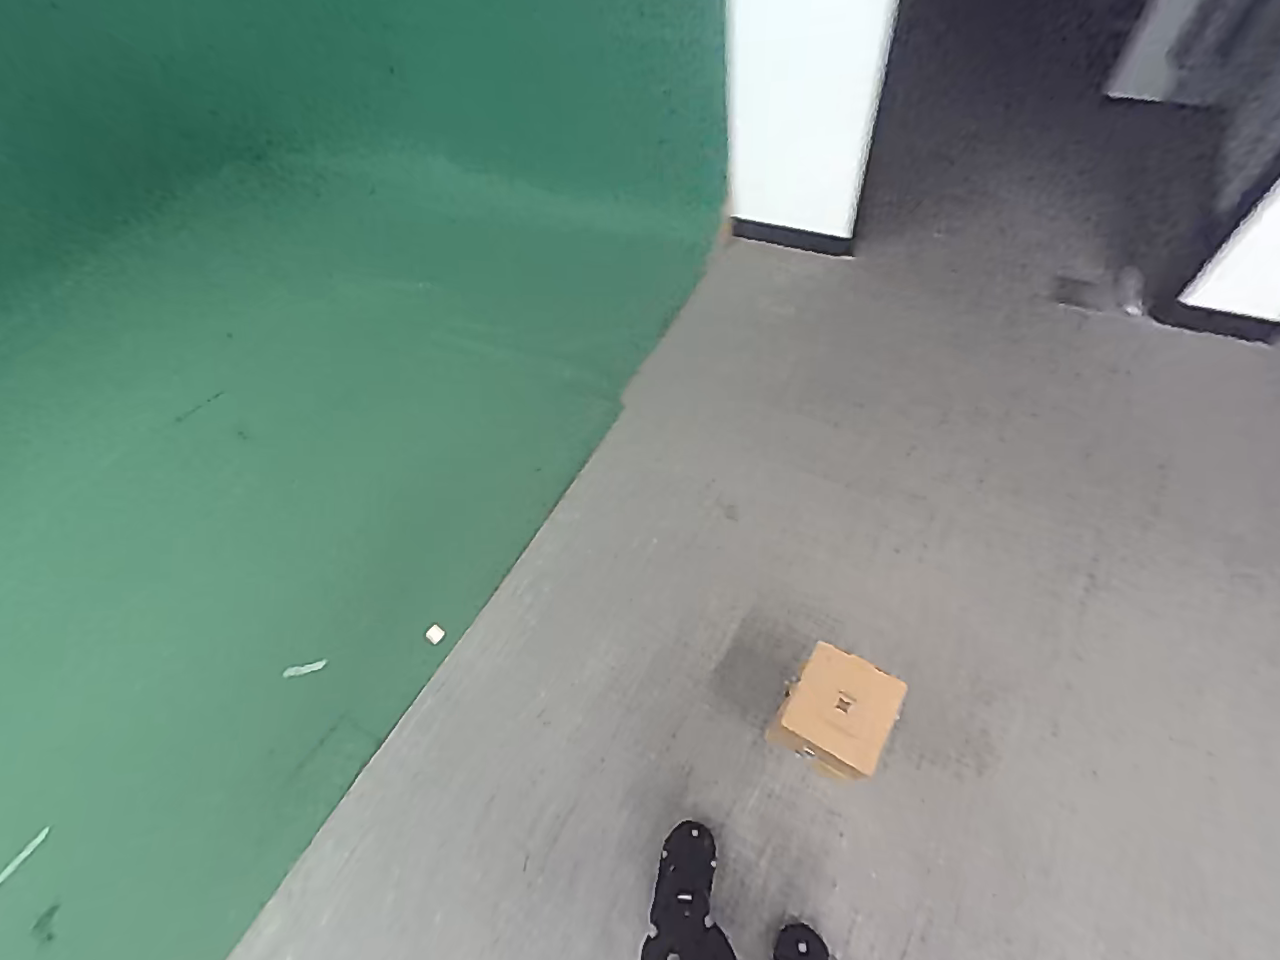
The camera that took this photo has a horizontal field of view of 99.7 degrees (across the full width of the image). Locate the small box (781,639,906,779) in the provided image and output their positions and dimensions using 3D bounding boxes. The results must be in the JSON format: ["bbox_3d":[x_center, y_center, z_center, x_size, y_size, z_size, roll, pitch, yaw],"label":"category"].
[{"bbox_3d":[0.378,0.439,1.032,0.168,0.176,0.179,24,67,25],"label":"small box"}]

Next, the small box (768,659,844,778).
[{"bbox_3d":[0.389,0.522,1.171,0.179,0.176,0.168,27,67,23],"label":"small box"}]
